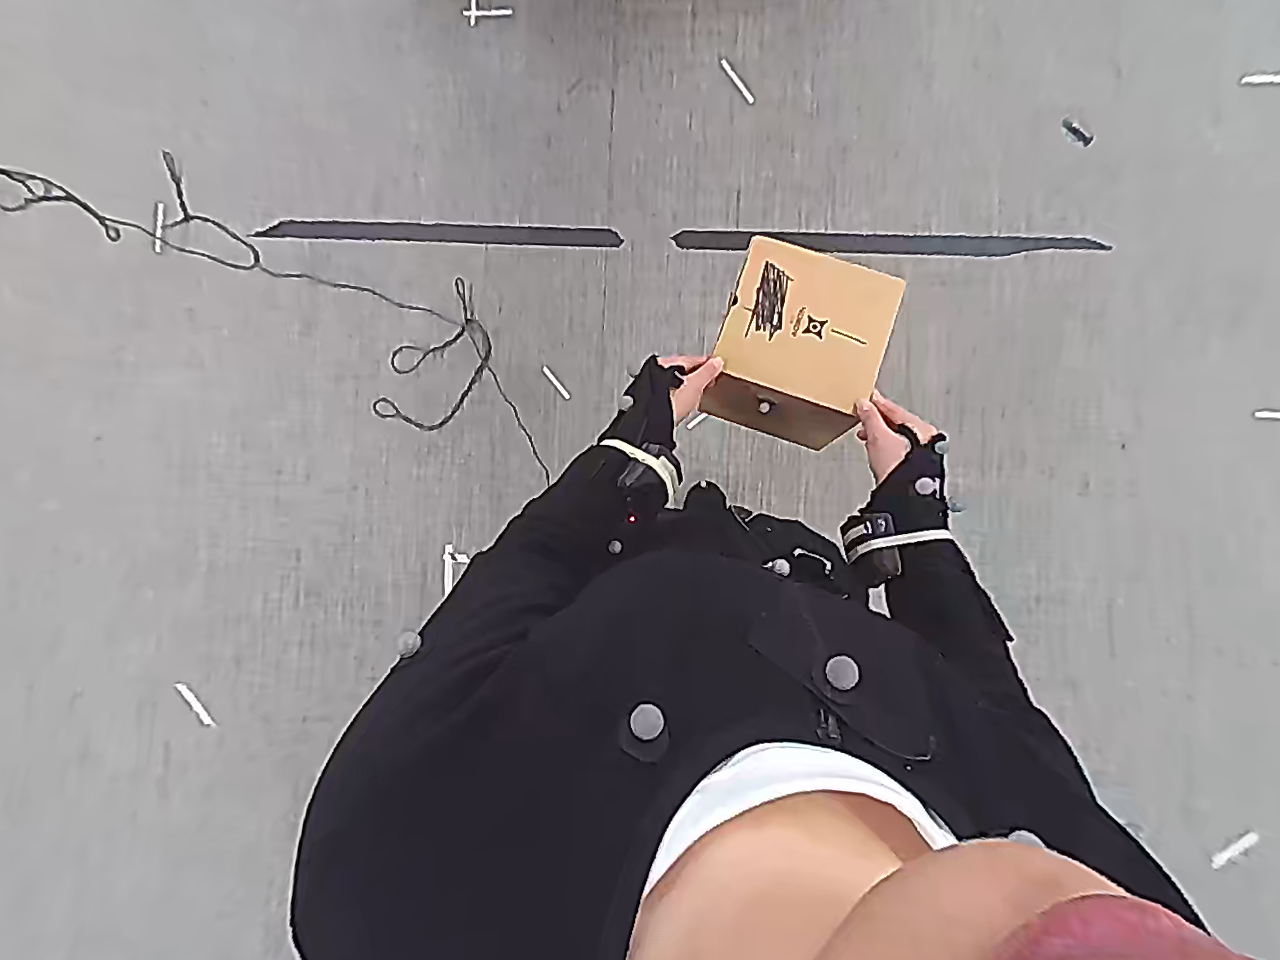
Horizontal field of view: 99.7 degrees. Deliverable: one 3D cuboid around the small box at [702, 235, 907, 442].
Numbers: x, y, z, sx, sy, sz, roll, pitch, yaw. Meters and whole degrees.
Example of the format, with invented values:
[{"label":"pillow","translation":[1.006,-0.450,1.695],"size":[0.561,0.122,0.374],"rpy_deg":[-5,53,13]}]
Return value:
[{"label":"small box","translation":[0.184,-0.158,0.661],"size":[0.179,0.176,0.168],"rpy_deg":[19,83,4]}]
